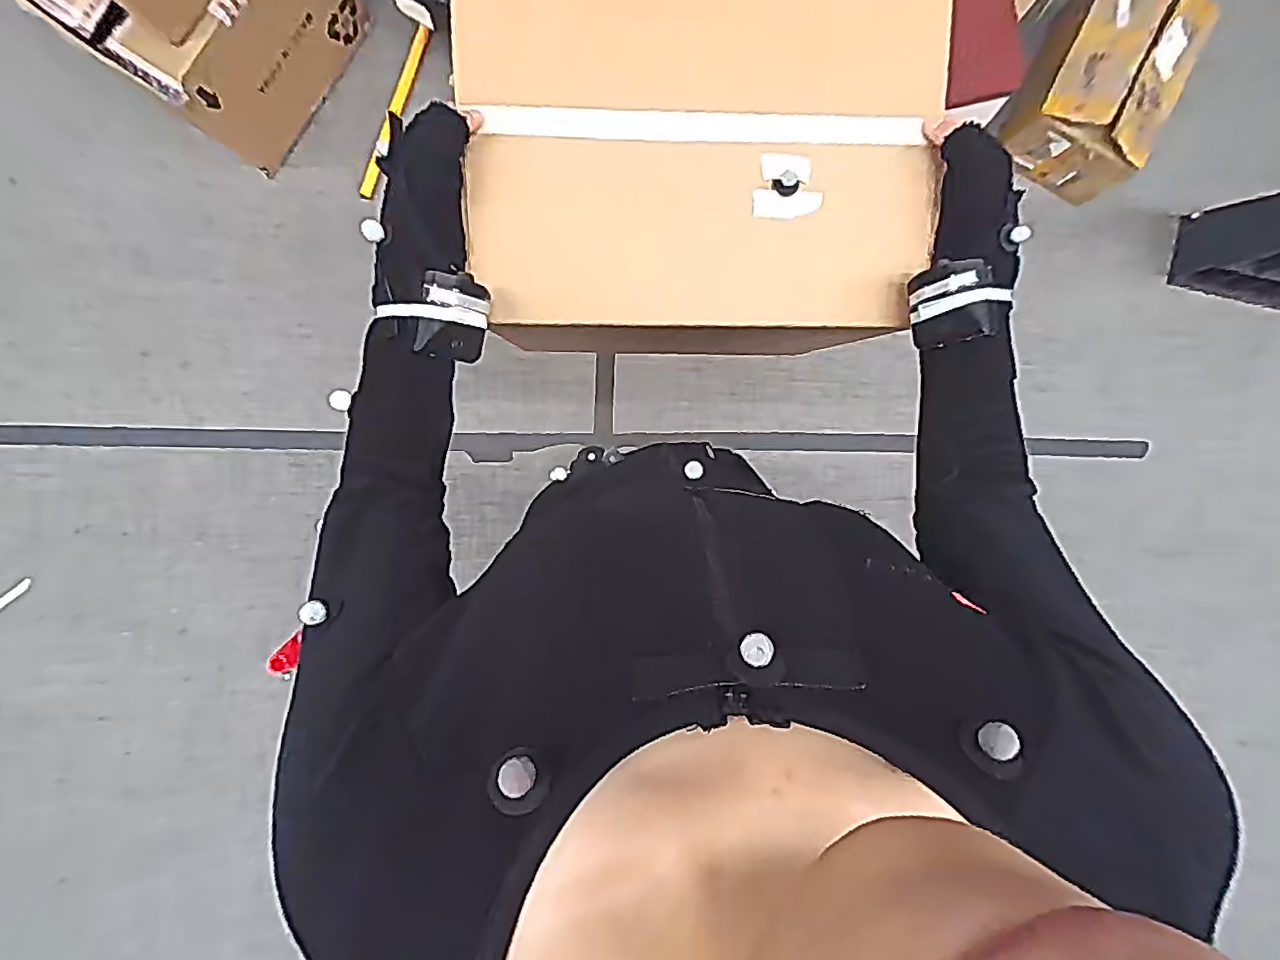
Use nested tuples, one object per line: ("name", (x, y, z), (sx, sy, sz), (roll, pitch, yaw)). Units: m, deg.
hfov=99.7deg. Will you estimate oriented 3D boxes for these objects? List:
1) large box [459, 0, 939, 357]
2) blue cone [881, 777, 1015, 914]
("large box", (0.043, -0.311, 0.602), (0.408, 0.320, 0.320), (-1, 99, -5))
("blue cone", (0.816, 0.971, 1.420), (0.192, 0.380, 0.193), (4, 92, -5))
